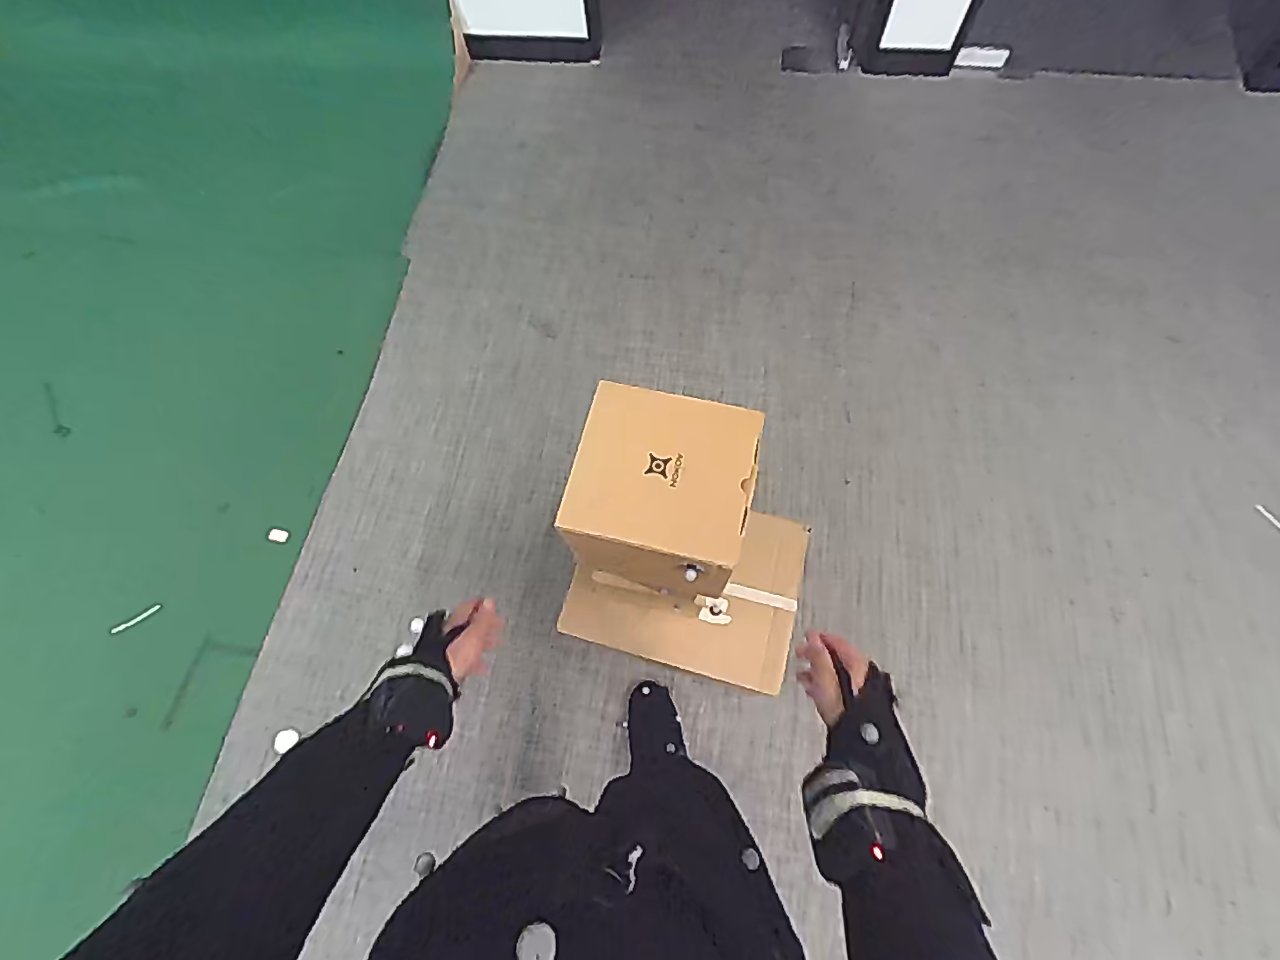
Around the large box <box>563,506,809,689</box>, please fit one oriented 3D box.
[{"bbox_3d":[0.094,0.226,1.126,0.408,0.320,0.320,14,72,8],"label":"large box"}]

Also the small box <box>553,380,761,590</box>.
[{"bbox_3d":[0.023,0.015,0.600,0.179,0.176,0.168,12,69,7],"label":"small box"}]
